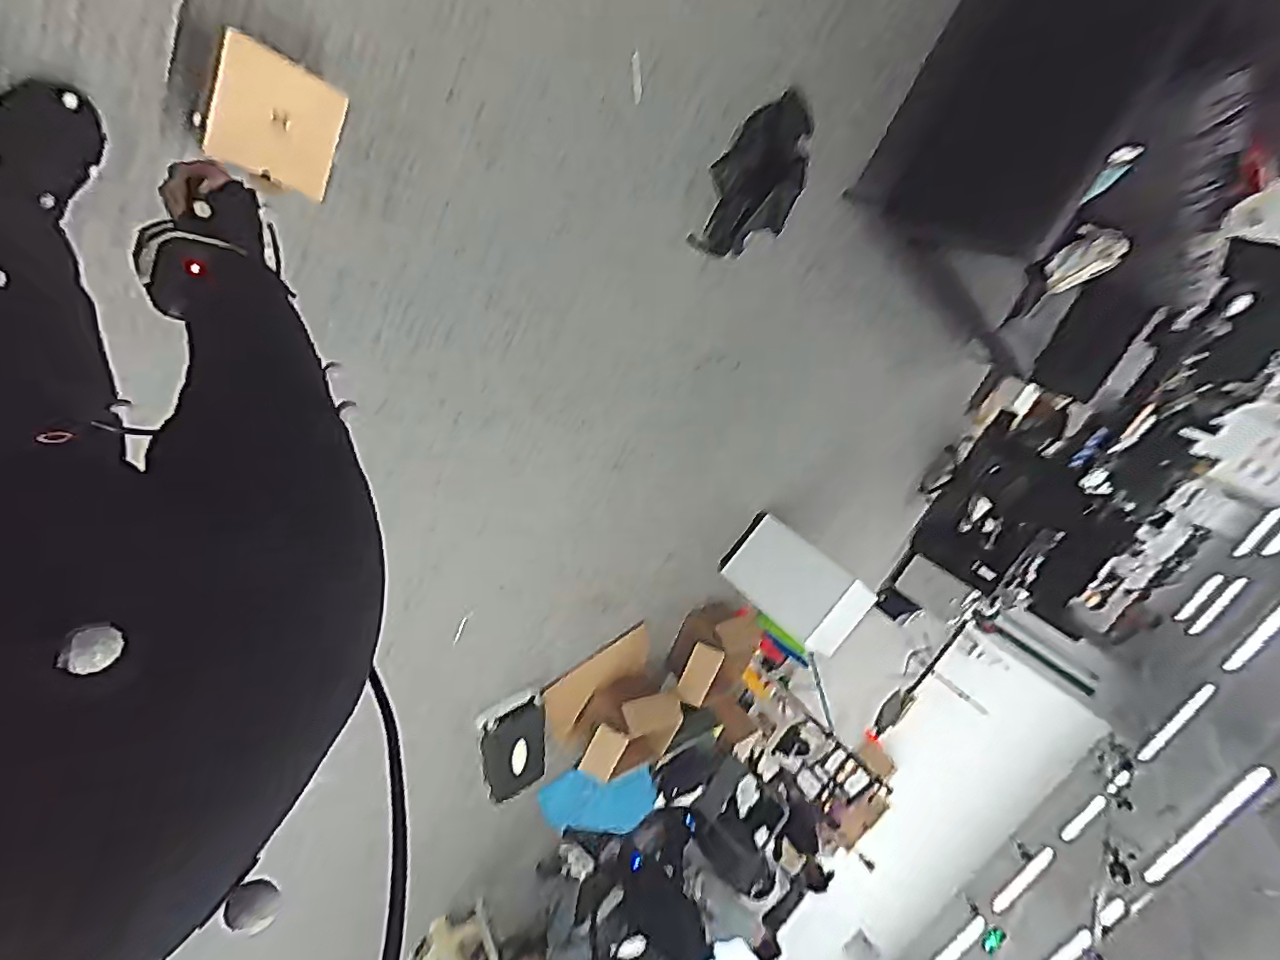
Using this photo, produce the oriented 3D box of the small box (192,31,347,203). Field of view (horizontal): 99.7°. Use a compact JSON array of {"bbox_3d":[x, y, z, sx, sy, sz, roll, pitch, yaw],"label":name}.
[{"bbox_3d":[-0.619,-0.599,0.897,0.168,0.176,0.179,8,116,-48],"label":"small box"}]
